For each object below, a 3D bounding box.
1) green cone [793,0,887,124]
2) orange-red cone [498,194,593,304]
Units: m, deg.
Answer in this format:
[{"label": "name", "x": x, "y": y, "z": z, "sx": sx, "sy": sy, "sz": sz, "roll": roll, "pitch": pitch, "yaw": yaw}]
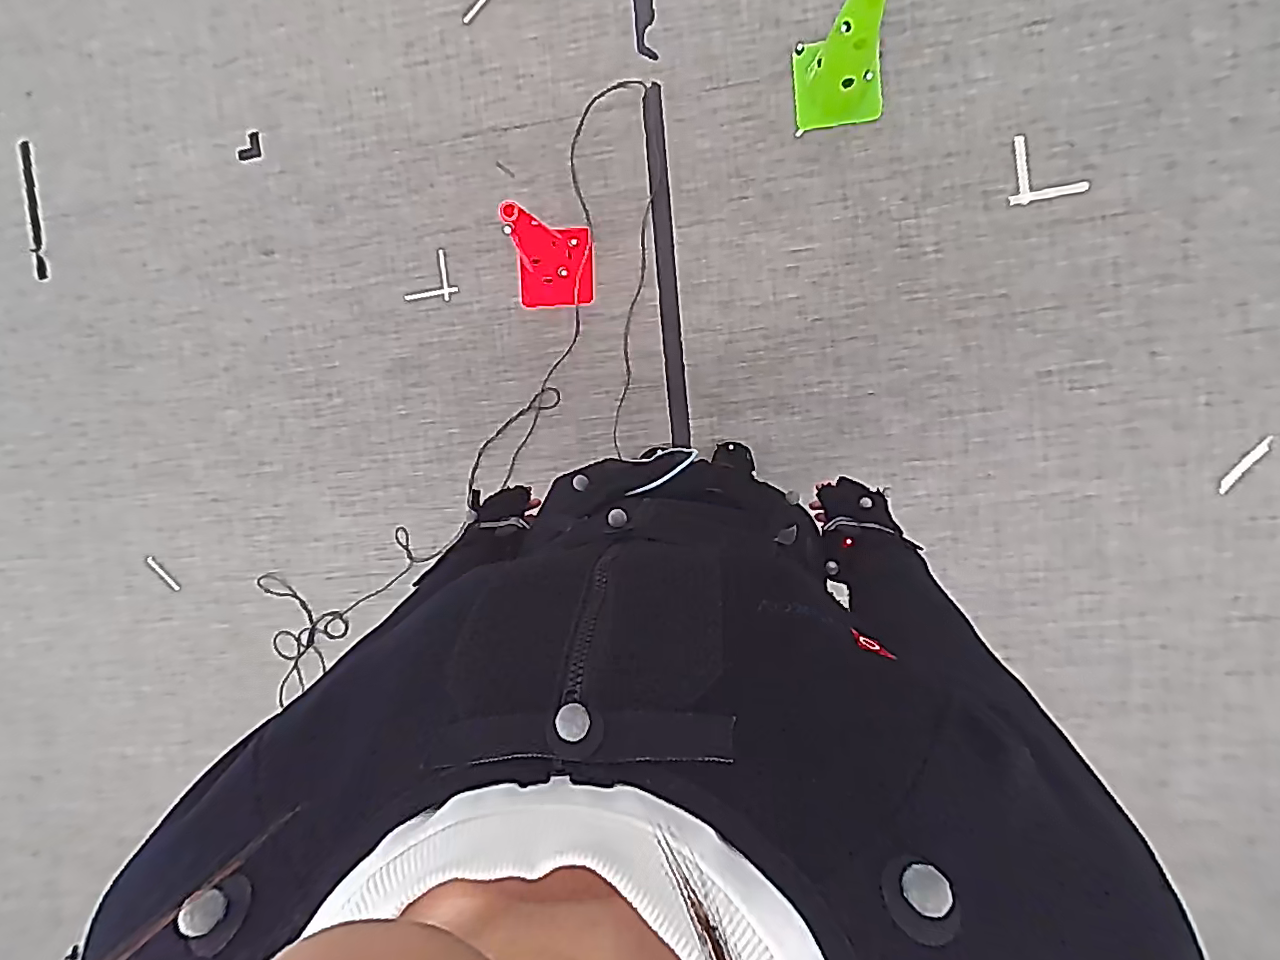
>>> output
[{"label": "green cone", "x": 0.456, "y": -0.954, "z": 1.127, "sx": 0.202, "sy": 0.368, "sz": 0.200, "roll": -5, "pitch": 94, "yaw": 6}, {"label": "orange-red cone", "x": -0.244, "y": -0.555, "z": 1.245, "sx": 0.199, "sy": 0.360, "sz": 0.198, "roll": 0, "pitch": 93, "yaw": 8}]
